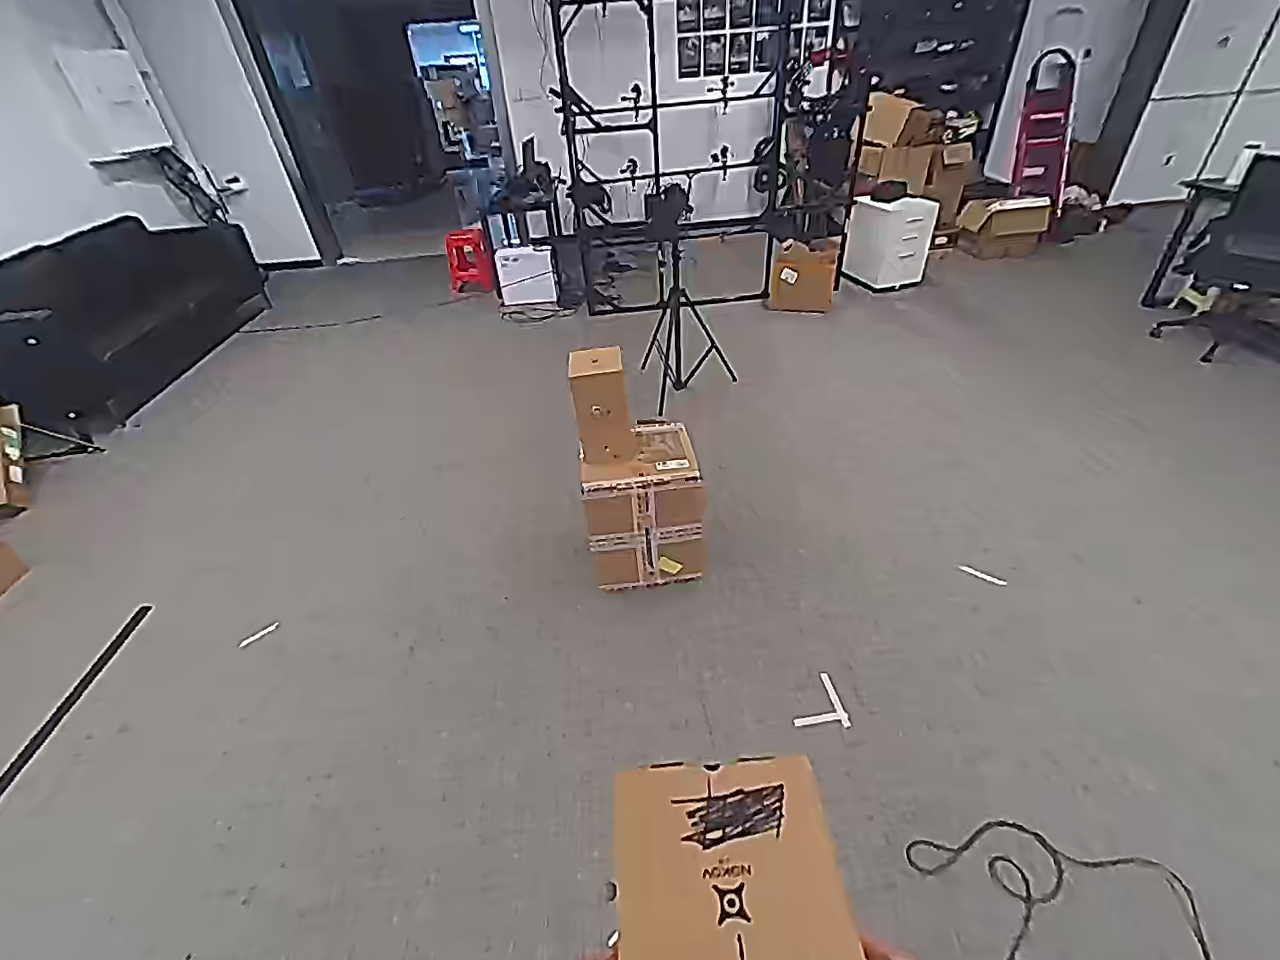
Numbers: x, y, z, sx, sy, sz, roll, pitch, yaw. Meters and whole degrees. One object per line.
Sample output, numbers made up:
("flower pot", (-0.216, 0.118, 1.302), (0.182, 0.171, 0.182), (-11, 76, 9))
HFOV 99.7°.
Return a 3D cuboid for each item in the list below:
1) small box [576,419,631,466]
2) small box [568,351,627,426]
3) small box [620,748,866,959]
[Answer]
("small box", (-0.122, -0.168, 1.837), (0.168, 0.176, 0.179), (-7, 39, -1))
("small box", (-0.134, -0.294, 1.736), (0.168, 0.176, 0.179), (-8, 39, 0))
("small box", (0.067, 0.349, 0.449), (0.168, 0.176, 0.179), (-3, 42, -2))
